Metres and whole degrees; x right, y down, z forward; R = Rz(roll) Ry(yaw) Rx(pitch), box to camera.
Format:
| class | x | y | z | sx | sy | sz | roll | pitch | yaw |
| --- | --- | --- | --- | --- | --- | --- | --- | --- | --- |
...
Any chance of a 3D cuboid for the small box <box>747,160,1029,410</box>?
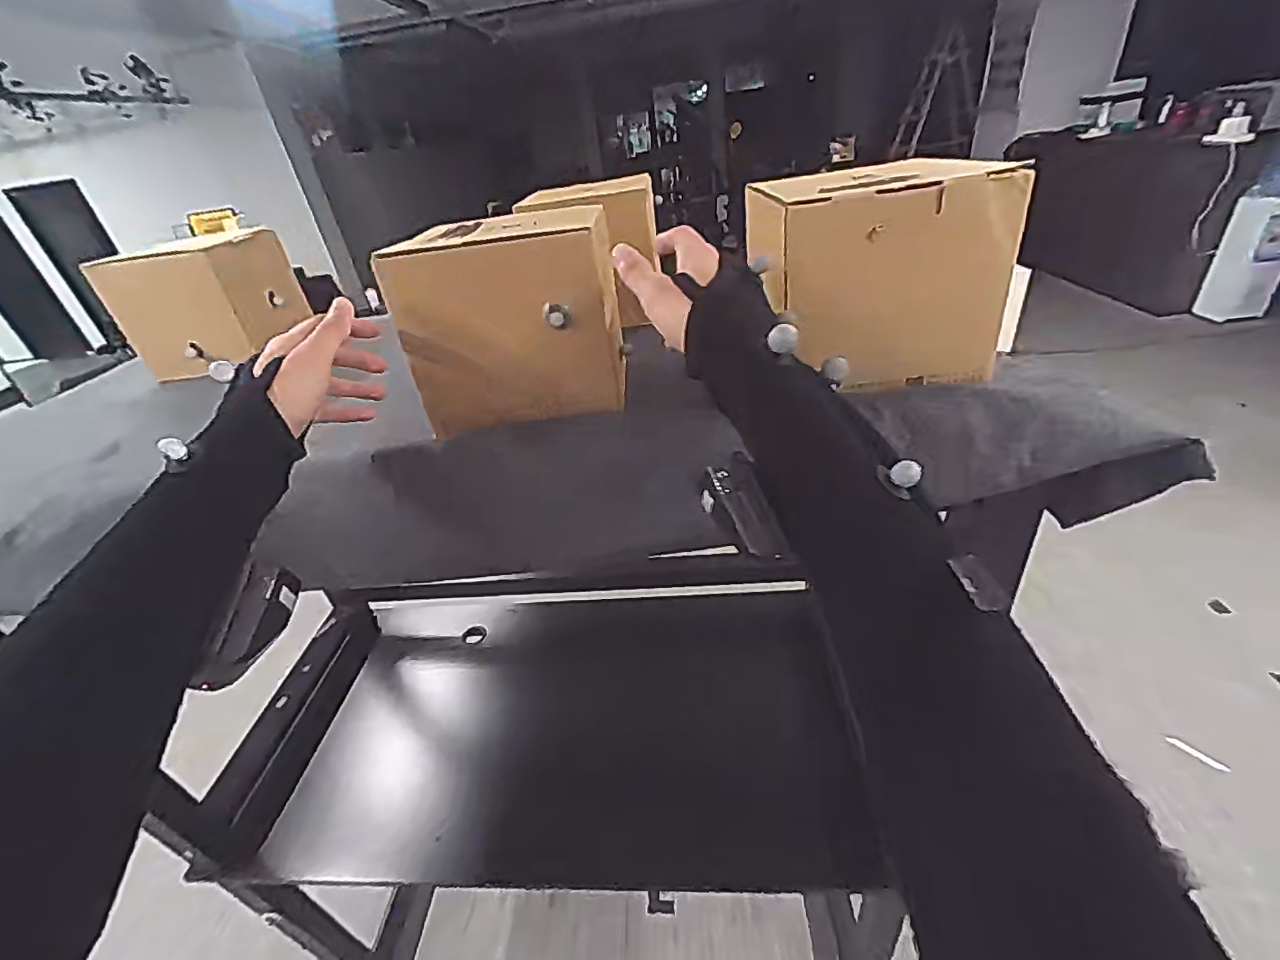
| class | x | y | z | sx | sy | sz | roll | pitch | yaw |
| --- | --- | --- | --- | --- | --- | --- | --- | --- | --- |
| small box | 0.192 | -0.169 | 0.475 | 0.168 | 0.176 | 0.179 | -6 | 32 | 4 |

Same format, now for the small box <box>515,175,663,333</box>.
| class | x | y | z | sx | sy | sz | roll | pitch | yaw |
| --- | --- | --- | --- | --- | --- | --- | --- | --- | --- |
| small box | -0.057 | -0.312 | 0.756 | 0.168 | 0.176 | 0.179 | -5 | 33 | 6 |

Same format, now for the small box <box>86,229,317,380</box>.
| class | x | y | z | sx | sy | sz | roll | pitch | yaw |
| --- | --- | --- | --- | --- | --- | --- | --- | --- | --- |
| small box | -0.630 | -0.262 | 0.809 | 0.179 | 0.176 | 0.168 | -5 | 33 | 4 |
